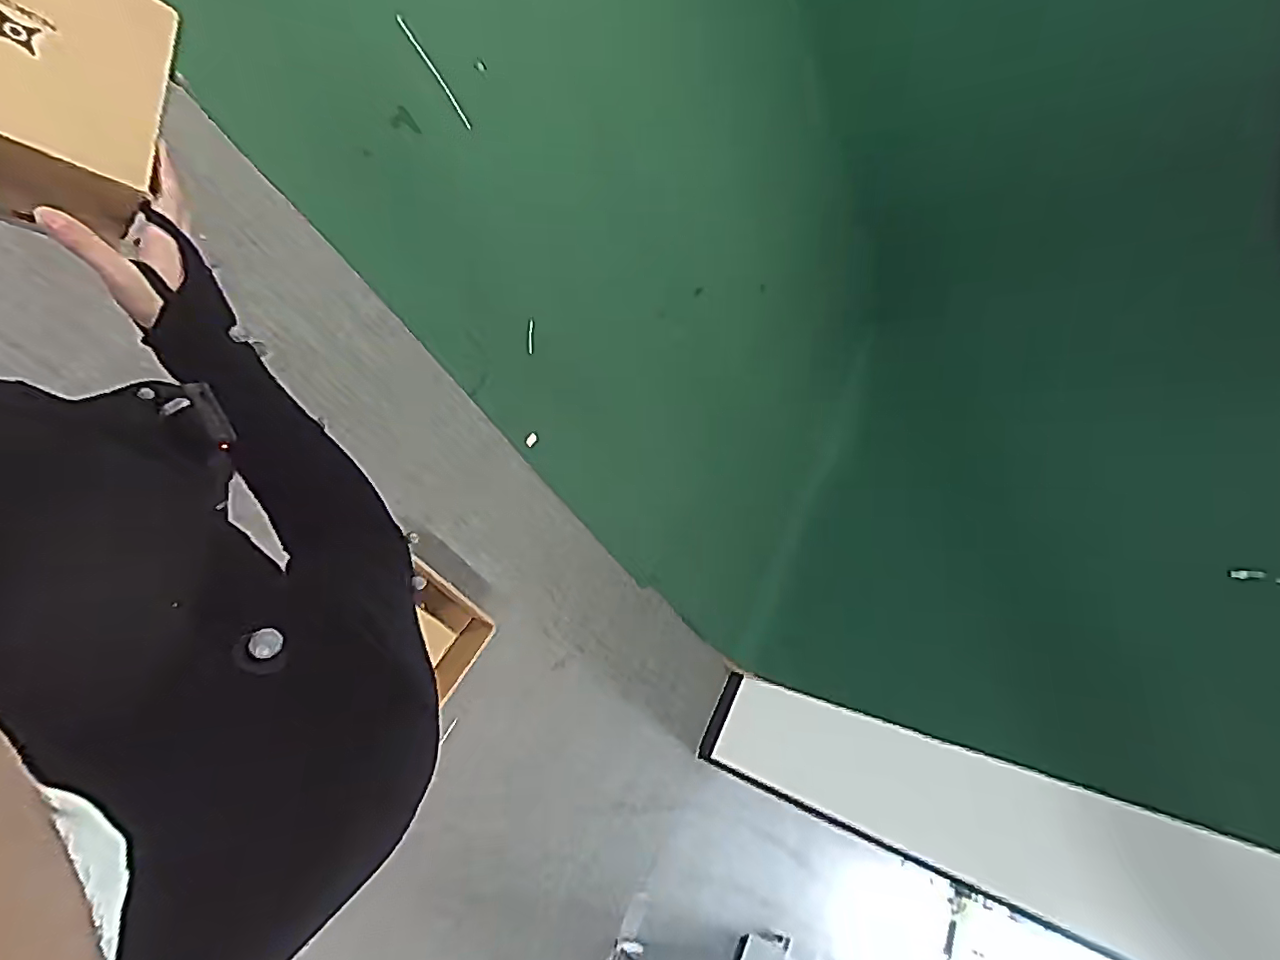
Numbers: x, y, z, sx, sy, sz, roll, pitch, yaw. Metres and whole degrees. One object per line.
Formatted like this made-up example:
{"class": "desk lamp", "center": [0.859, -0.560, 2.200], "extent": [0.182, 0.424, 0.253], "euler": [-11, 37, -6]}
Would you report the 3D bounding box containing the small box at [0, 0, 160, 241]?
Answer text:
{"class": "small box", "center": [-0.515, -0.324, 0.428], "extent": [0.168, 0.176, 0.179], "euler": [10, 77, -51]}
